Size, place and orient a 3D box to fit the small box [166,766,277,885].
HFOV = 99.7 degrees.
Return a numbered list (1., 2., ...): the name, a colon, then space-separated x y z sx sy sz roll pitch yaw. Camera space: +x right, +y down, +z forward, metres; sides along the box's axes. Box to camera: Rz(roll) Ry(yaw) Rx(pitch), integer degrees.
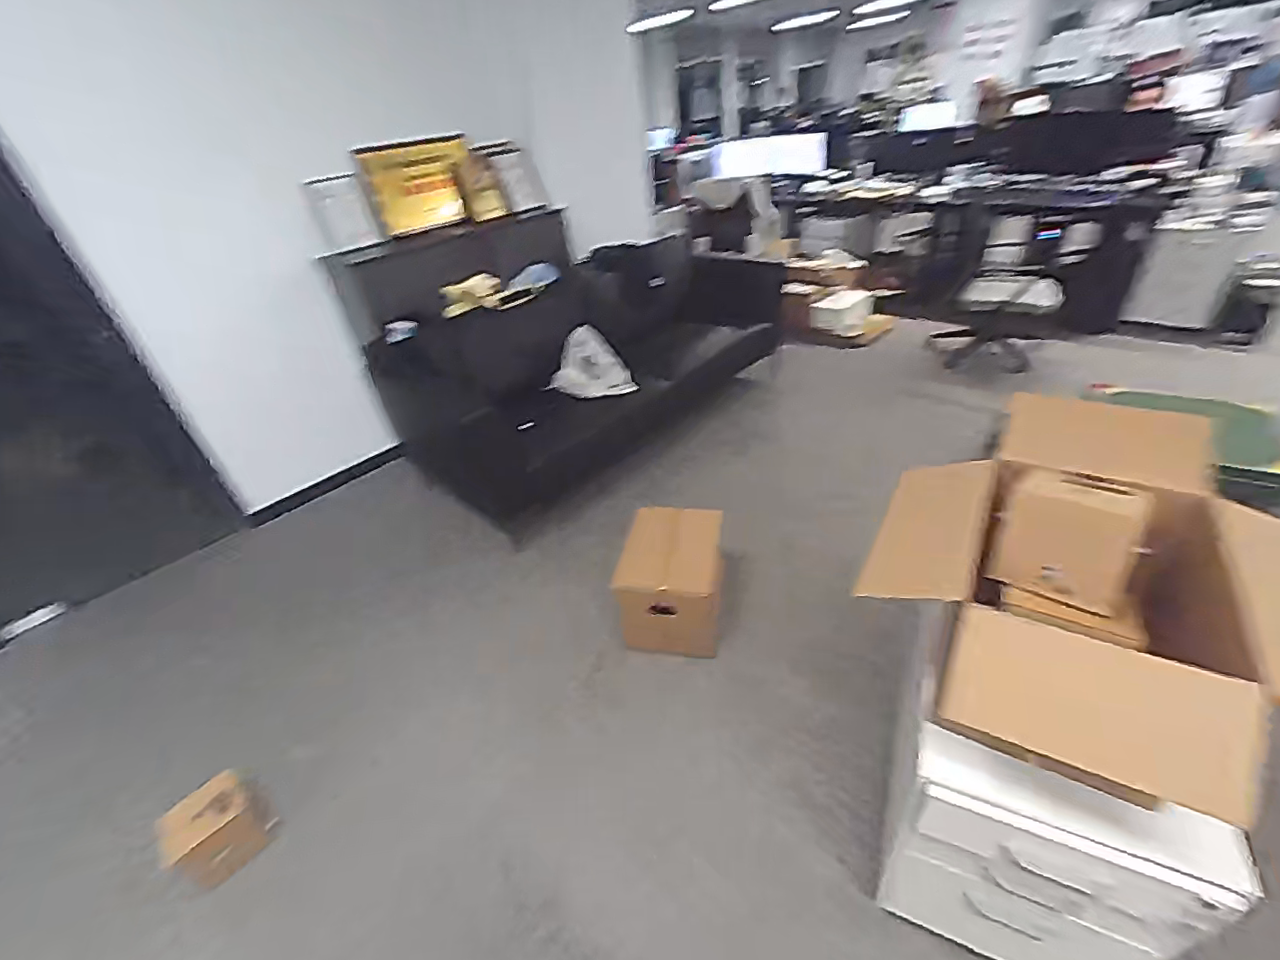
1. small box: -1.105 0.919 1.442 0.179 0.176 0.168 -33 42 -32
